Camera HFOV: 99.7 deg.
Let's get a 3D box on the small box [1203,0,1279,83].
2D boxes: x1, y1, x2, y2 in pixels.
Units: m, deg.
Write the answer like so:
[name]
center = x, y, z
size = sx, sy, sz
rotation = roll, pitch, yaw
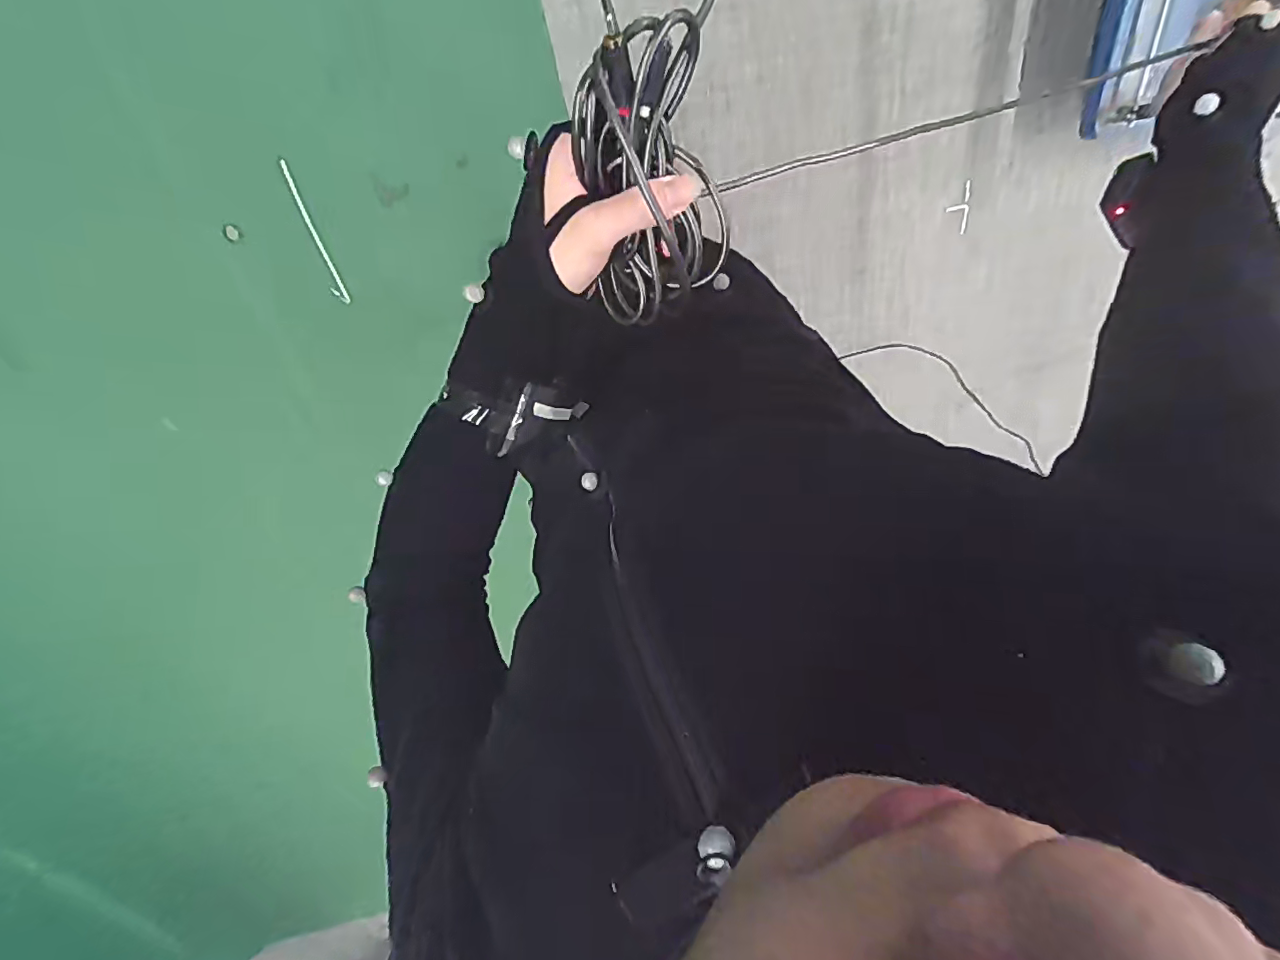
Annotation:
[small box]
center = 1.340, -0.926, 1.102
size = 0.179, 0.176, 0.168
rotation = -10, 123, -1
